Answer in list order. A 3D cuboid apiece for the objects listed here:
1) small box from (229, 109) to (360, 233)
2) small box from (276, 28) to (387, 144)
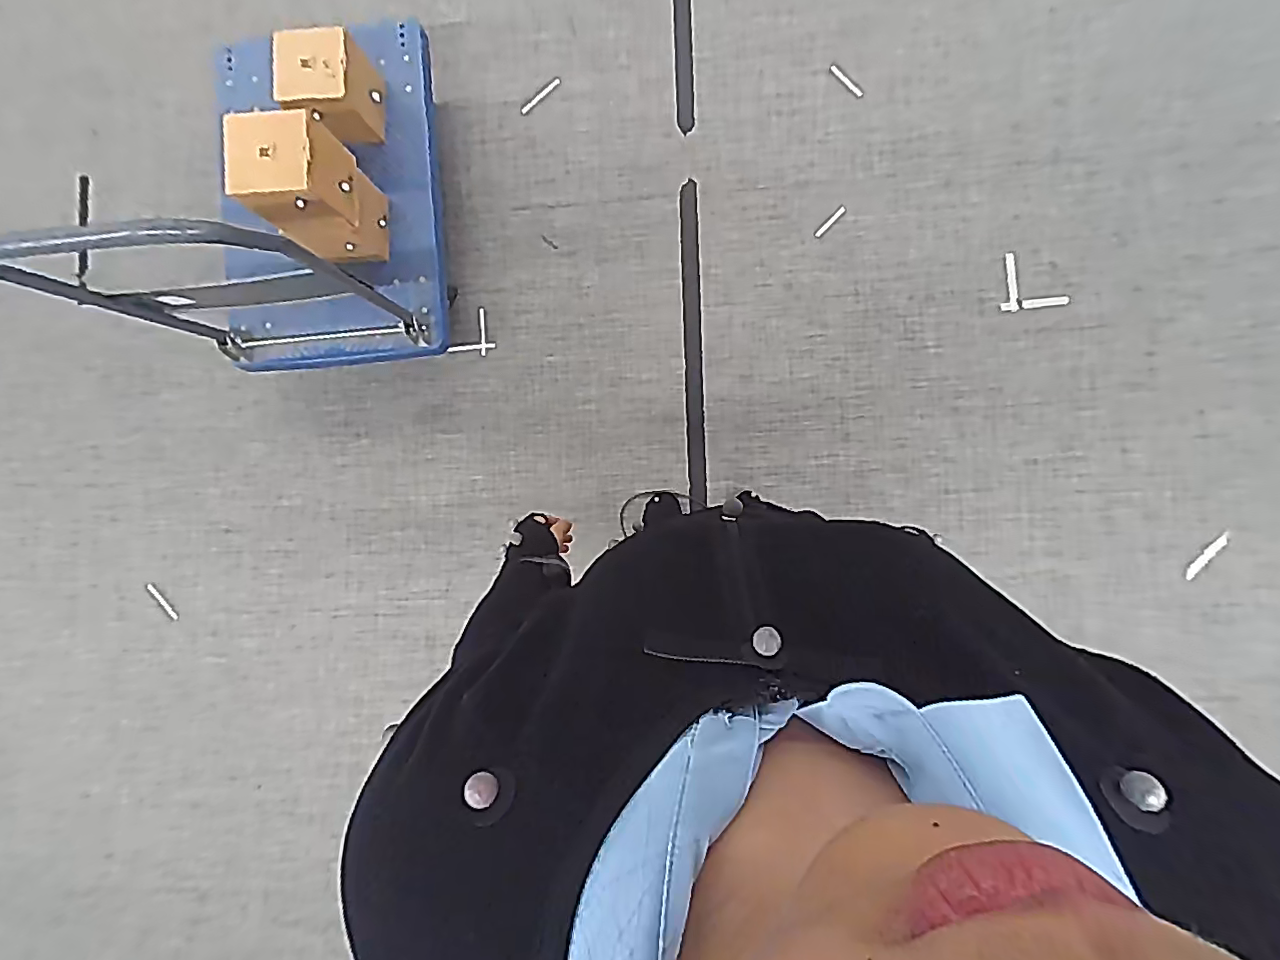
[{"bbox_3d":[-0.728,-0.646,1.150,0.179,0.176,0.168,-2,89,3],"label":"small box"},{"bbox_3d":[-0.747,-0.949,1.319,0.179,0.176,0.168,0,90,4],"label":"small box"}]
